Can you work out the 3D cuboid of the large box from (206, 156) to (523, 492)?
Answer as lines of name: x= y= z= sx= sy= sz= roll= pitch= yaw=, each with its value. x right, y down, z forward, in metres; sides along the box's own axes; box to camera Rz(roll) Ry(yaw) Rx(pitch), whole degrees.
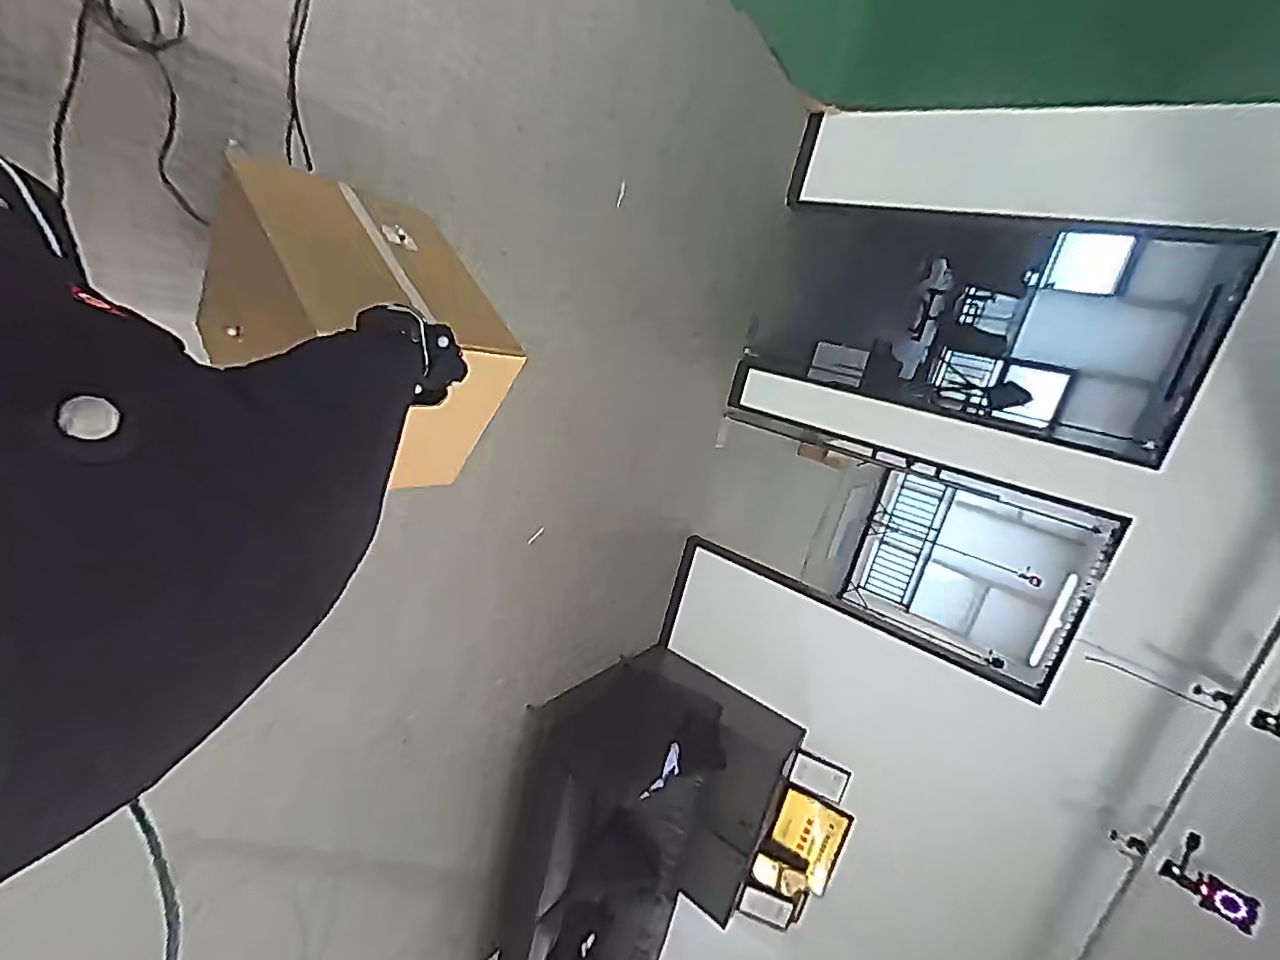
large box: x=-0.472 y=-0.239 z=0.904 sx=0.320 sy=0.408 sz=0.320 roll=-8 pitch=144 yaw=-51
